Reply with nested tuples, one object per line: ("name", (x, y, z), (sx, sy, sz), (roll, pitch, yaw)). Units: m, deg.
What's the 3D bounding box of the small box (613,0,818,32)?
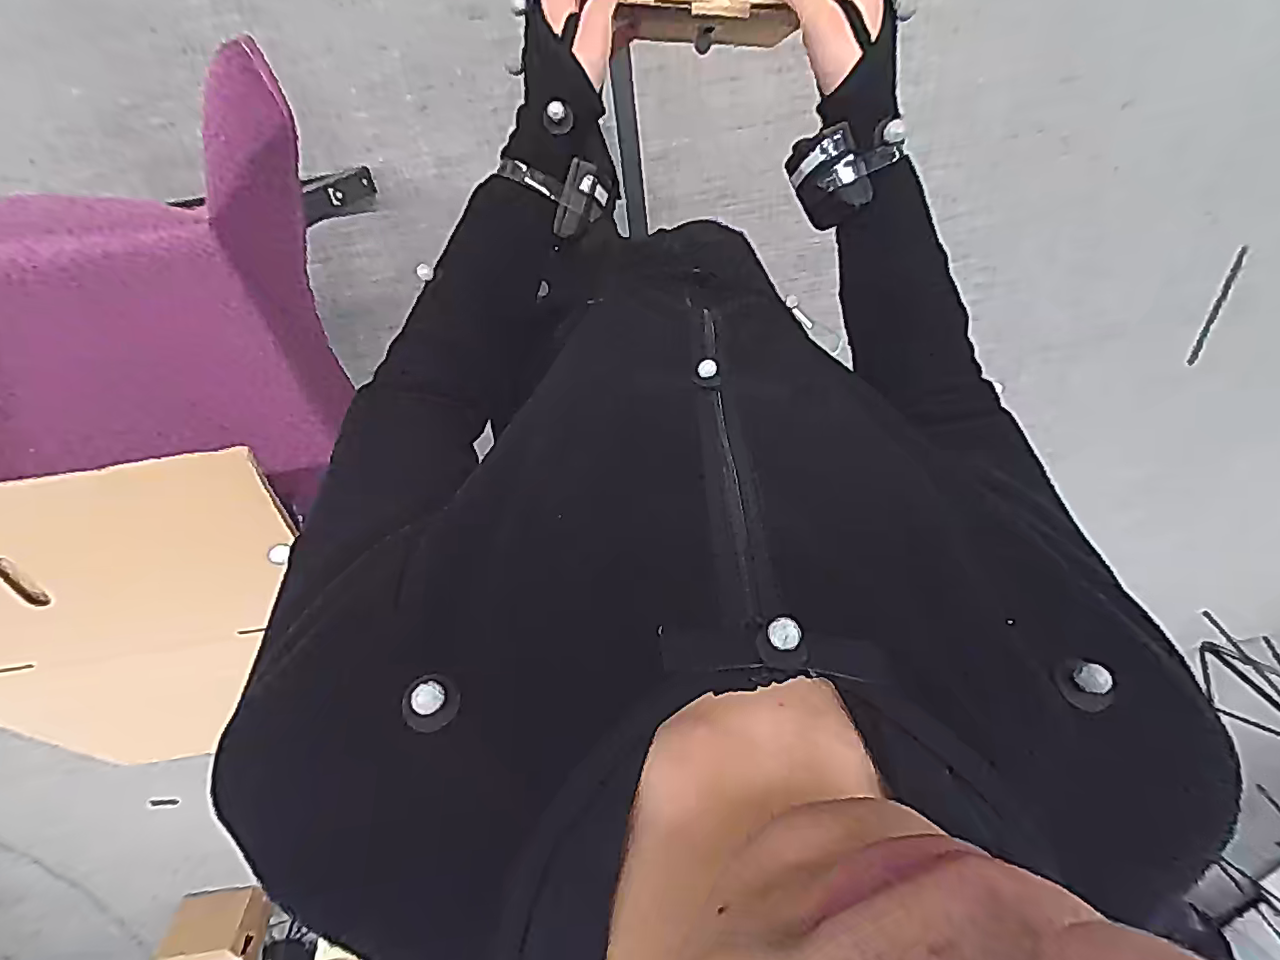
("small box", (0.061, -0.482, 0.431), (0.168, 0.176, 0.179), (1, 123, -3))
